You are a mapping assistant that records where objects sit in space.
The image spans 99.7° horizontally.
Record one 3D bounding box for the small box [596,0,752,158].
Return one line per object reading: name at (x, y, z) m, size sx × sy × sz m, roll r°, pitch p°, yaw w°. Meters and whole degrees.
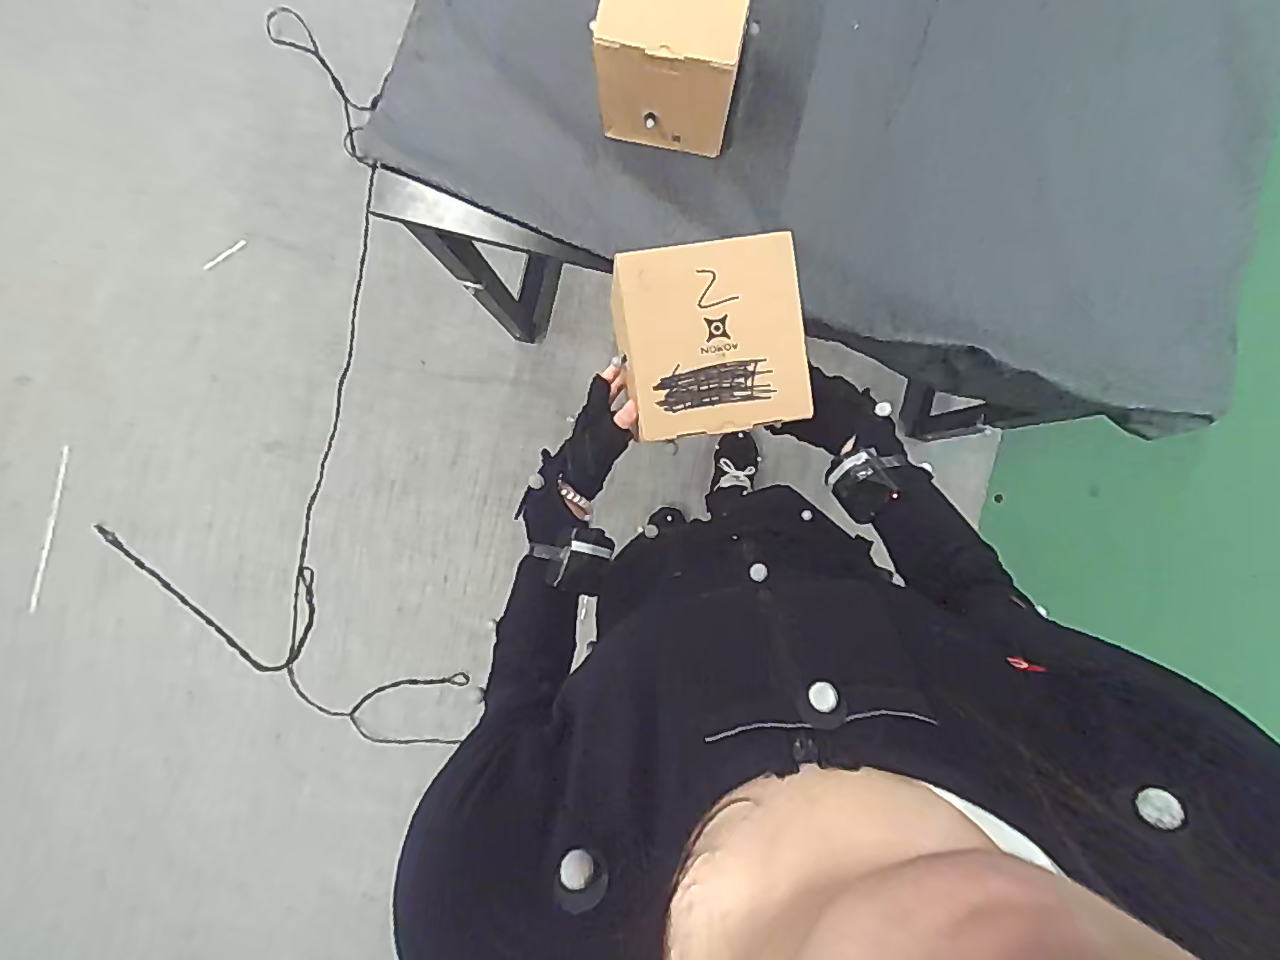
small box at (0.046, -0.560, 0.694) m, size 0.168 × 0.176 × 0.179 m, roll 12°, pitch 90°, yaw 0°
